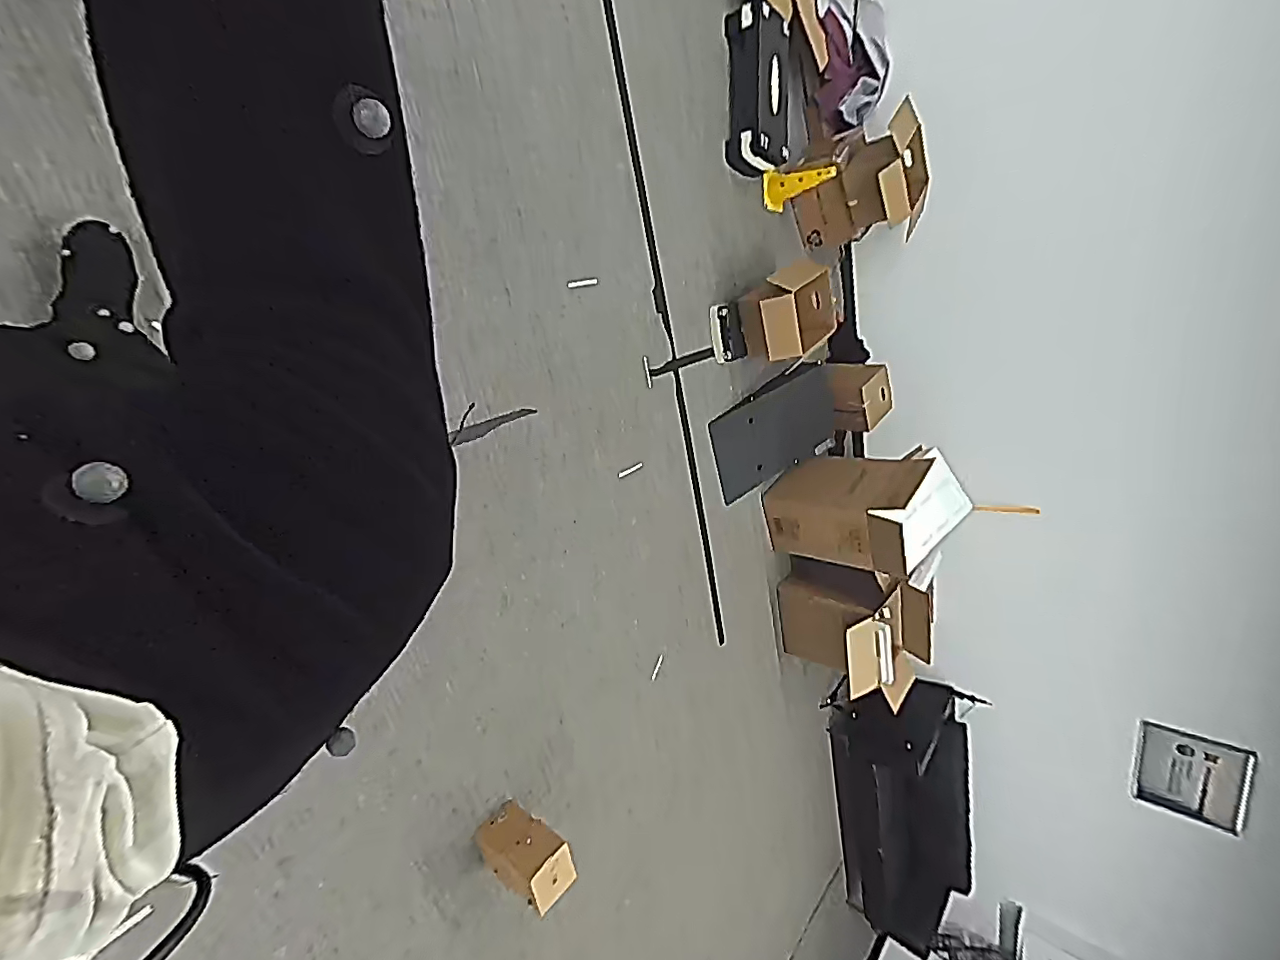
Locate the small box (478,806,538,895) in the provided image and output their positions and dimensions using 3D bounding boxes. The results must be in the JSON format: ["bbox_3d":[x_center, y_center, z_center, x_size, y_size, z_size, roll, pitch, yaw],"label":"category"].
[{"bbox_3d":[-0.468,1.349,1.983,0.168,0.176,0.179,-27,114,-44],"label":"small box"}]

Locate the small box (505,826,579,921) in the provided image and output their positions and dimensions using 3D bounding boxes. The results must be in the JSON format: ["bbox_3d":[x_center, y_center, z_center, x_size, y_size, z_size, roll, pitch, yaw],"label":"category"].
[{"bbox_3d":[-0.343,1.355,1.877,0.168,0.176,0.179,-28,114,-43],"label":"small box"}]
